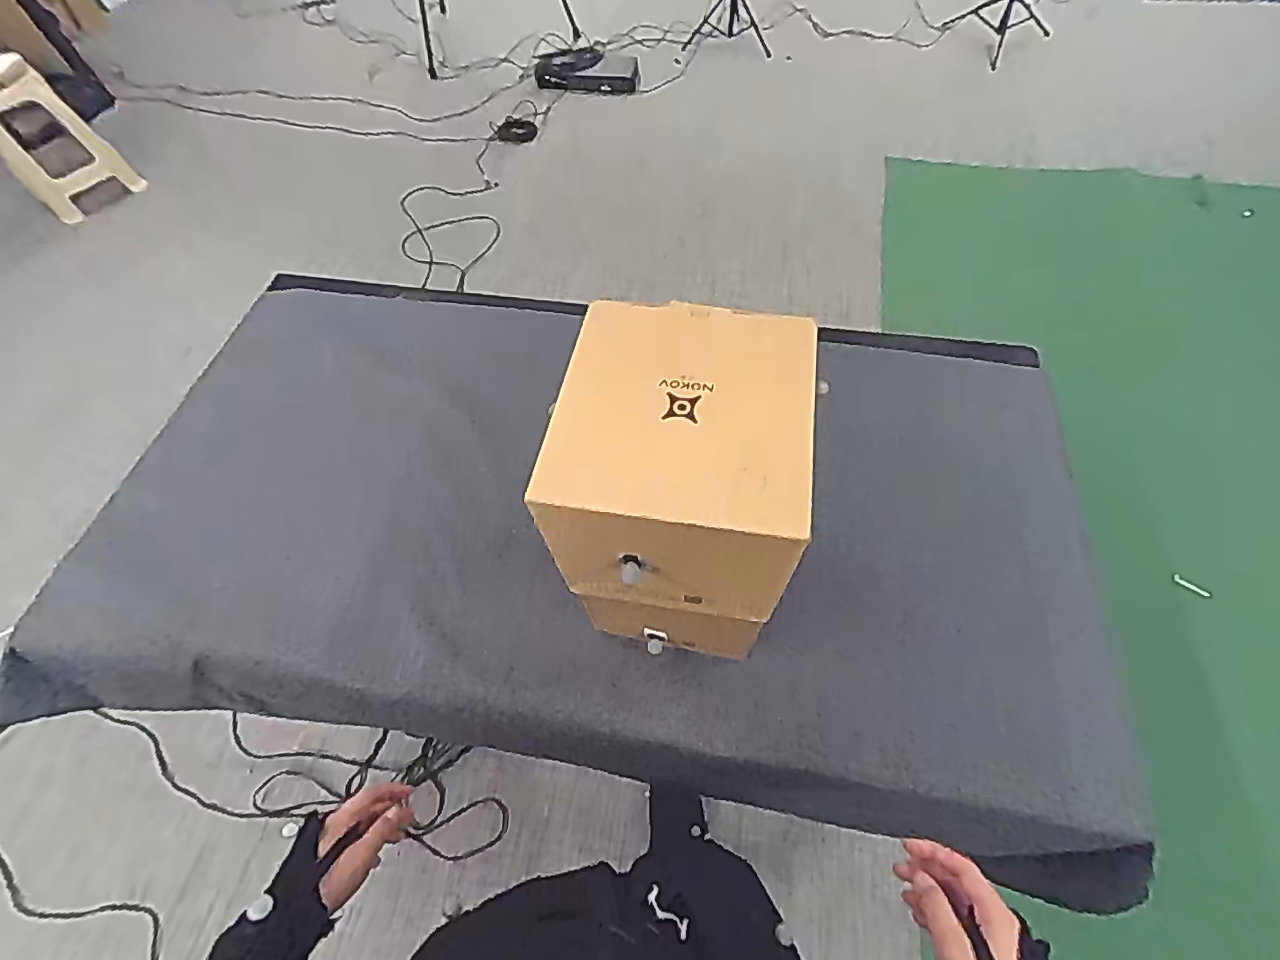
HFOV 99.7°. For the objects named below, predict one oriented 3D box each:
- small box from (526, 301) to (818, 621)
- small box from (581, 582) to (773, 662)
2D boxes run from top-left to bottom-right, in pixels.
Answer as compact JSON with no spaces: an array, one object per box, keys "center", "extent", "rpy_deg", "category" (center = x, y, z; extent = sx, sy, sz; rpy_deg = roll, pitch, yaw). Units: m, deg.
[{"center":[0.033,-0.007,0.410],"extent":[0.168,0.176,0.179],"rpy_deg":[7,59,8],"category":"small box"},{"center":[0.047,0.069,0.553],"extent":[0.168,0.176,0.179],"rpy_deg":[8,61,9],"category":"small box"}]
